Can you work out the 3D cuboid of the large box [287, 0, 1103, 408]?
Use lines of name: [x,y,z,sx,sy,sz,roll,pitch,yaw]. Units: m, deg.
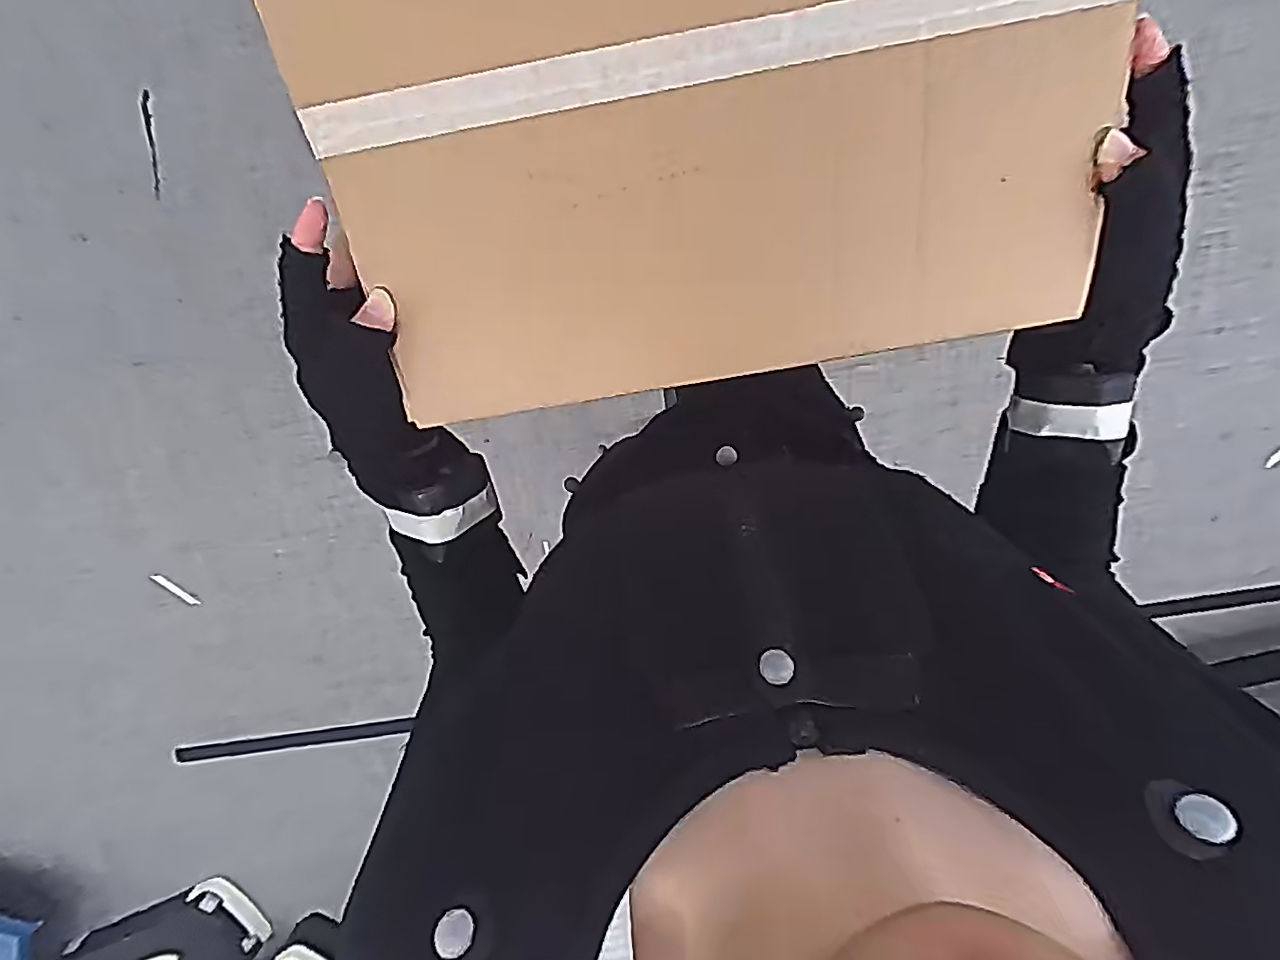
large box: [0.027,-0.275,0.411,0.408,0.320,0.320,-10,115,2]
